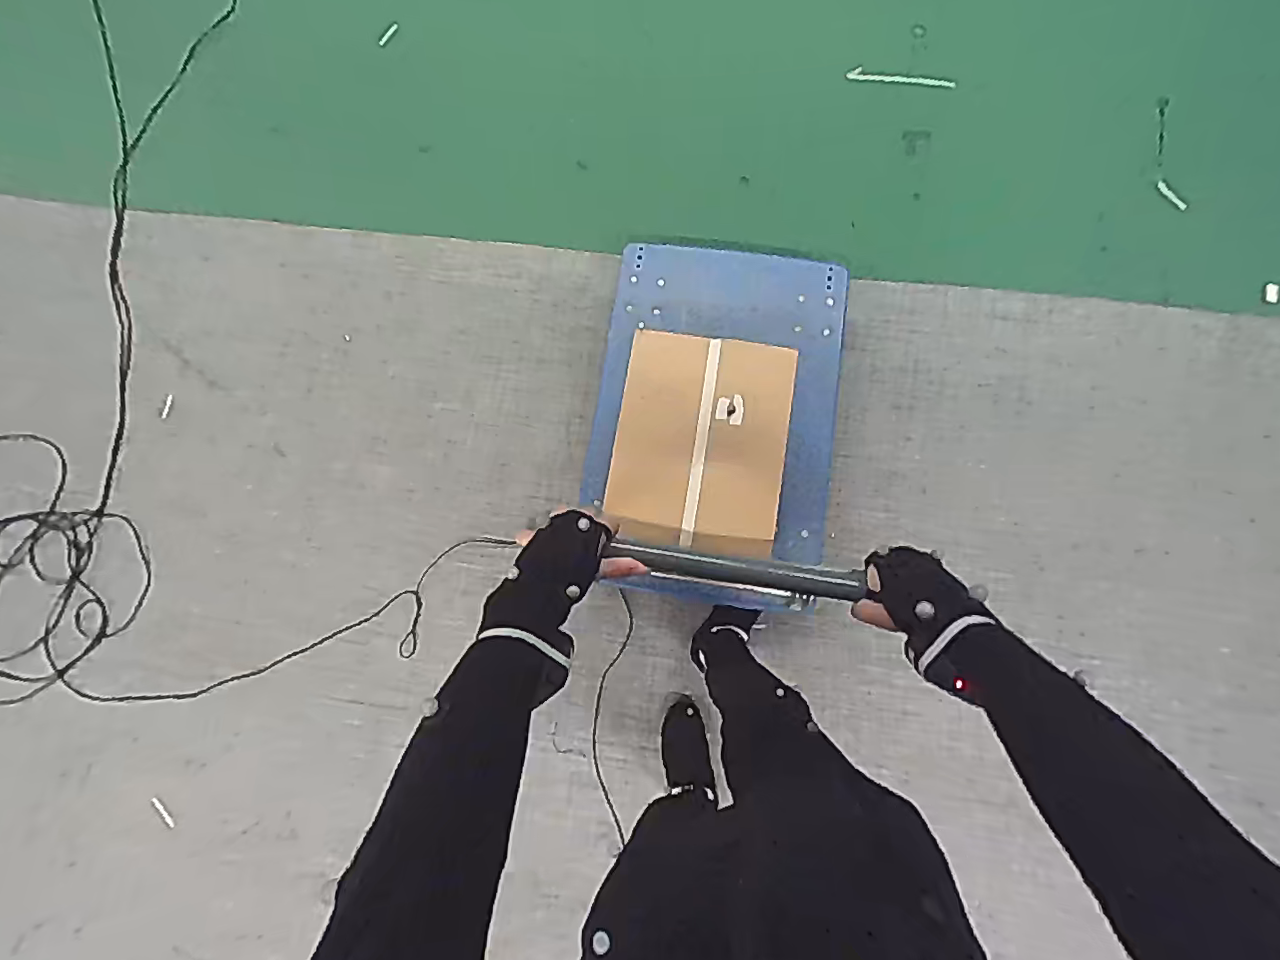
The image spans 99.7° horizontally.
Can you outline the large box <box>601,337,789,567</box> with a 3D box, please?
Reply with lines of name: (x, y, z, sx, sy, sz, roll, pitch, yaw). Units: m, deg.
large box: (0.115, -0.037, 1.151, 0.320, 0.320, 0.408, 9, 80, 4)
